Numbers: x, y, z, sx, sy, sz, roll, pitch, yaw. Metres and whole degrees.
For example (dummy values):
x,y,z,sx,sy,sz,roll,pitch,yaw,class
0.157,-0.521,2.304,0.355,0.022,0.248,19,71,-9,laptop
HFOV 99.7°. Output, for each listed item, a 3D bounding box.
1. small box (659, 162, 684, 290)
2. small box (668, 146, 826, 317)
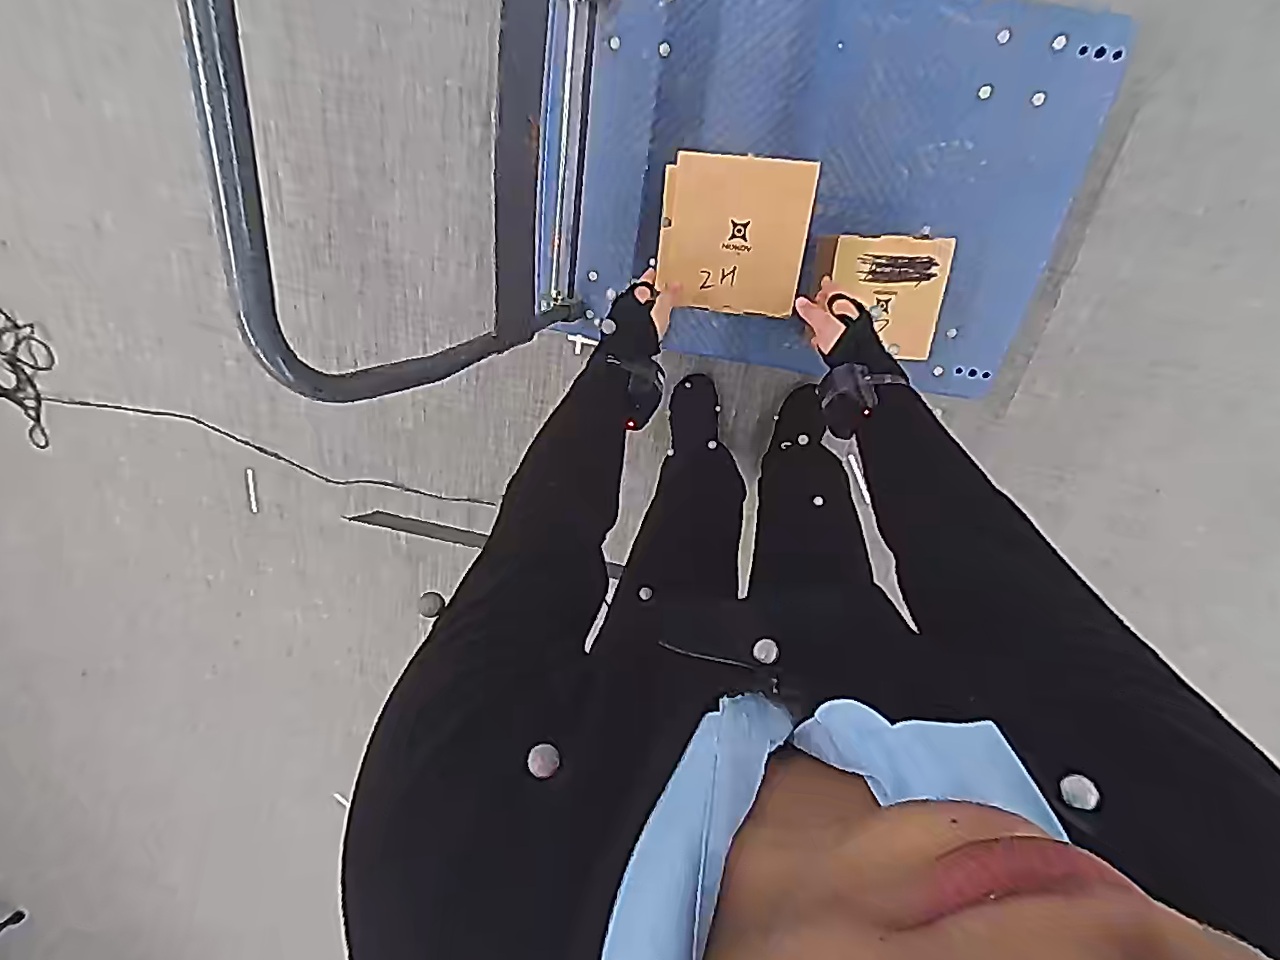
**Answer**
x,y,z,sx,sy,sz,roll,pitch,yaw,class
0.125,-0.397,0.872,0.168,0.176,0.179,7,115,4,small box
0.132,-0.326,0.721,0.168,0.176,0.179,8,115,4,small box
